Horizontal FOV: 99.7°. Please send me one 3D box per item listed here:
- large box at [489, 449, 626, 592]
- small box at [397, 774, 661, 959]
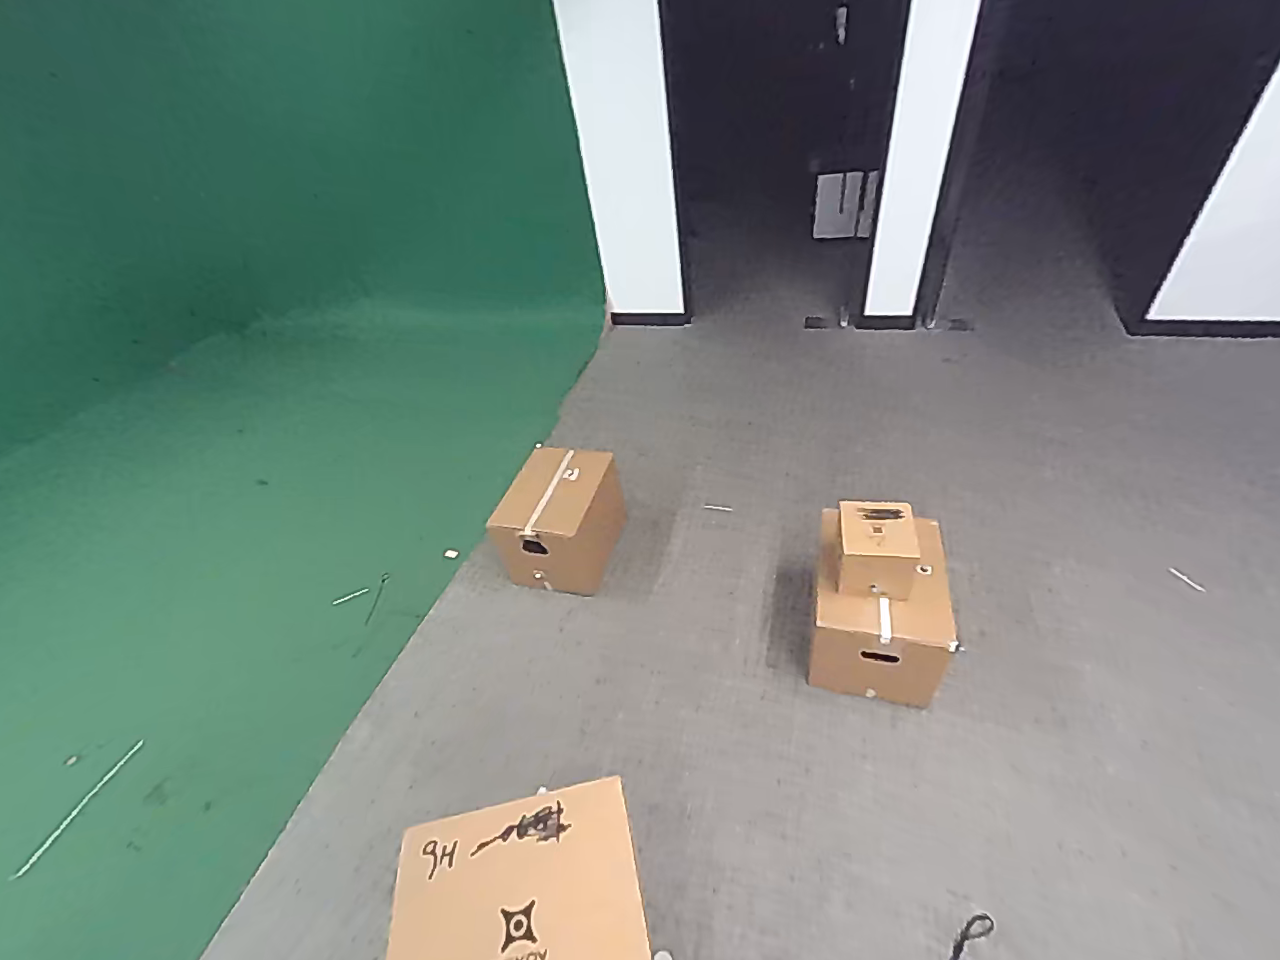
[{"bbox_3d":[-0.270,0.138,1.920,0.320,0.320,0.408,5,44,17],"label":"large box"},{"bbox_3d":[-0.069,0.357,0.400,0.168,0.176,0.179,-9,38,-6],"label":"small box"}]
